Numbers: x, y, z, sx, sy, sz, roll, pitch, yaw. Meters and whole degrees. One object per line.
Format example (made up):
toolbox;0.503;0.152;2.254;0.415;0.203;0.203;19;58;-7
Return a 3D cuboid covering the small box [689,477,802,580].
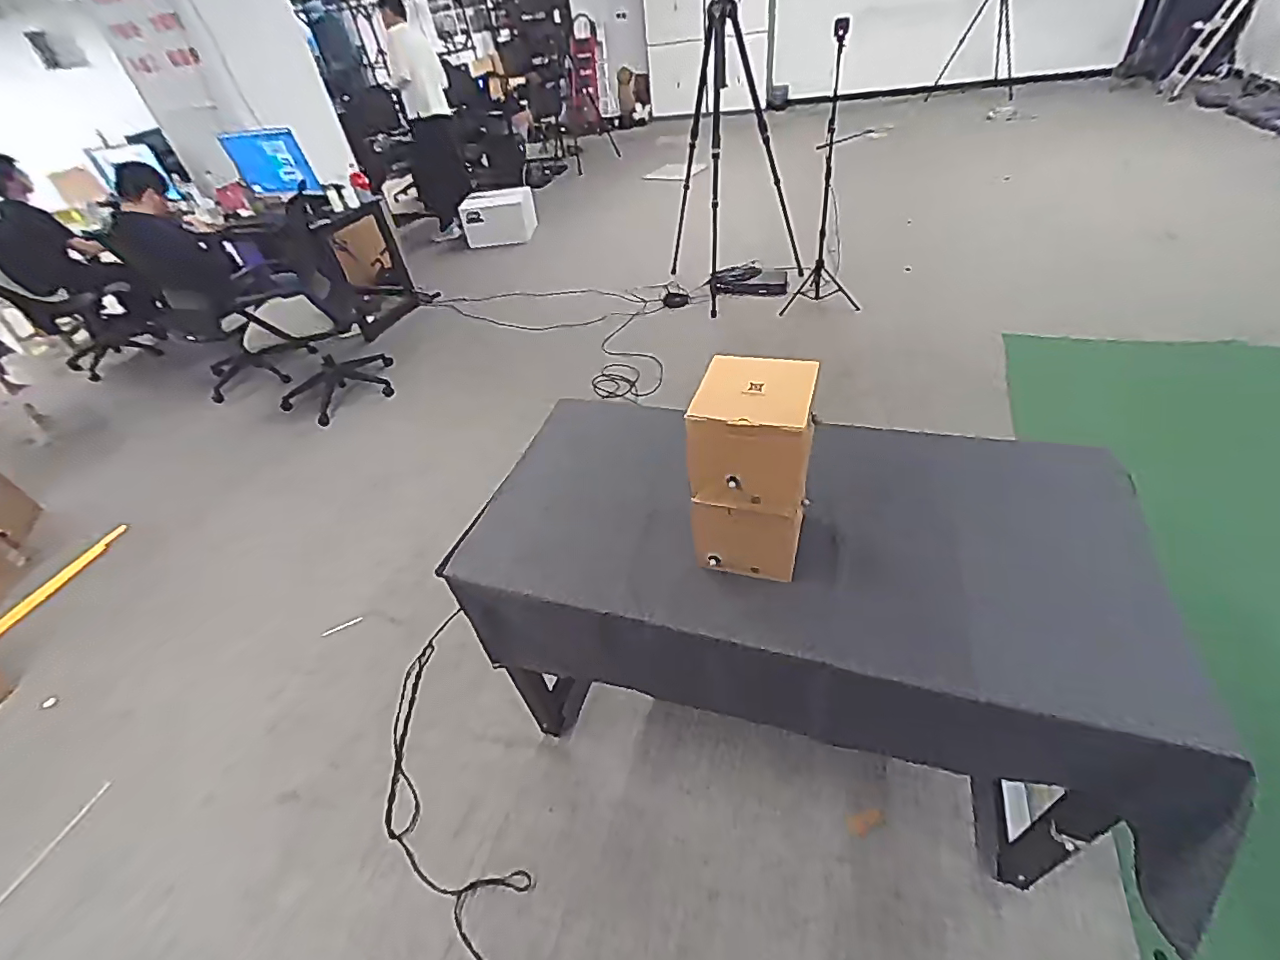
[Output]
small box;0.193;0.052;0.957;0.168;0.176;0.179;8;43;19

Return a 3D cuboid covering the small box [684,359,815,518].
small box;0.173;-0.068;0.849;0.168;0.176;0.179;8;44;19
